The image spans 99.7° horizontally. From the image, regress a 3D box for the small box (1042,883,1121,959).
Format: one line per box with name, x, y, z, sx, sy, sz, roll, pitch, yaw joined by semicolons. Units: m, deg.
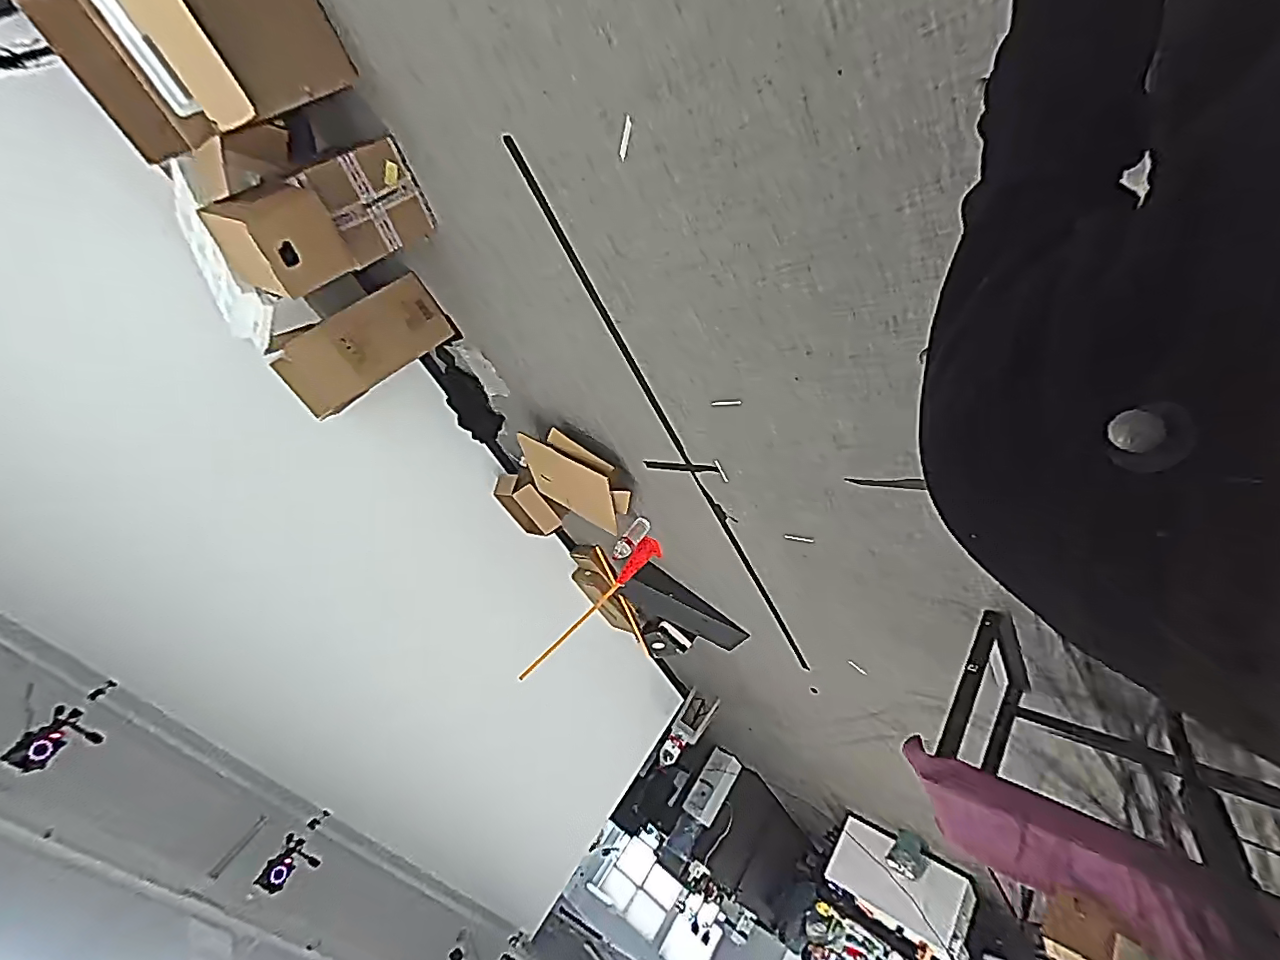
small box;1.394;1.430;1.702;0.168;0.176;0.179;5;134;48
